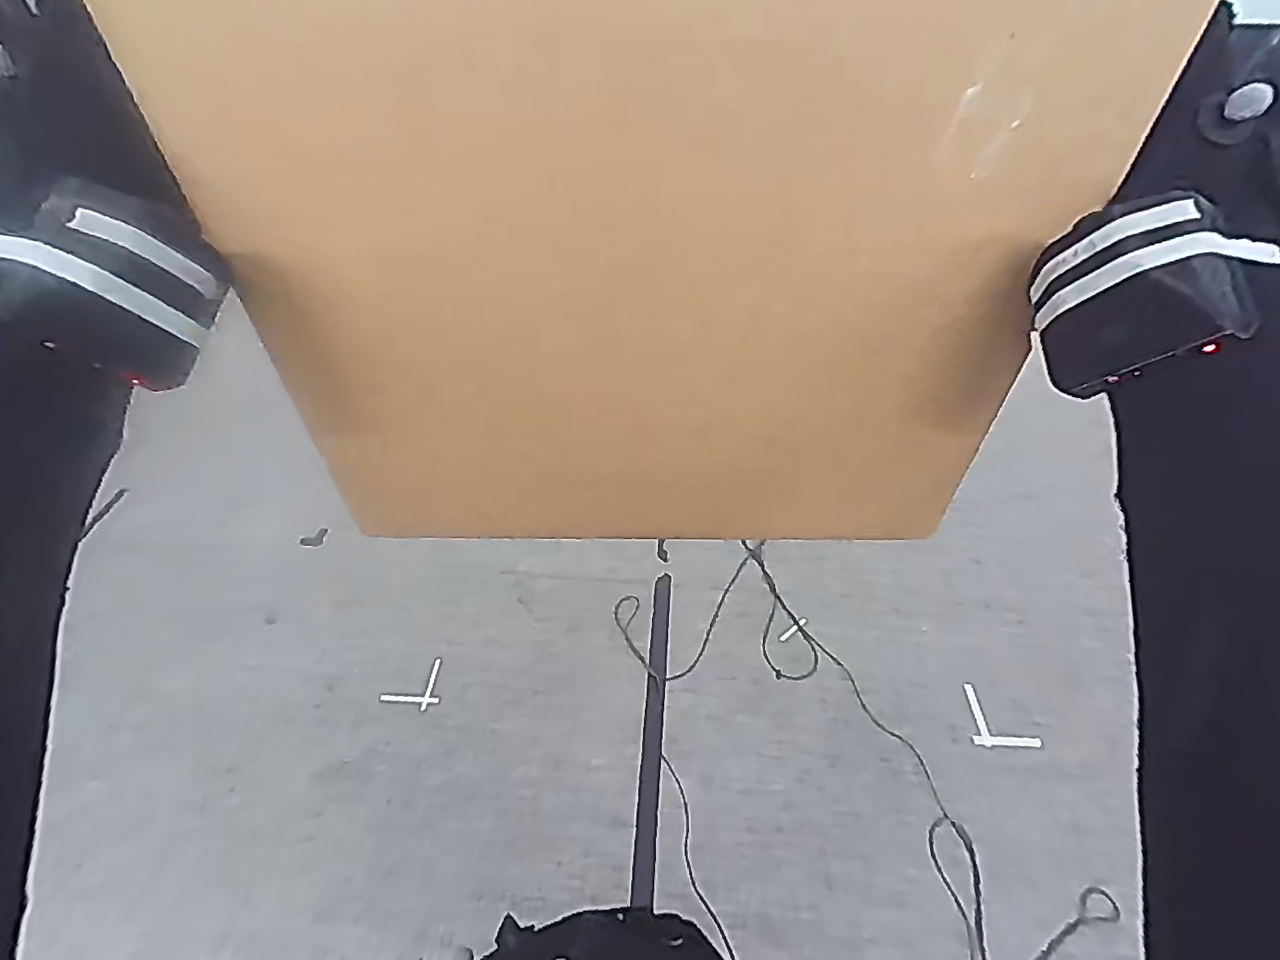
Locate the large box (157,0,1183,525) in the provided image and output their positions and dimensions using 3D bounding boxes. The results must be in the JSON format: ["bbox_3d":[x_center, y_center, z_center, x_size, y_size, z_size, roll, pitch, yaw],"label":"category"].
[{"bbox_3d":[0.007,-0.178,0.404,0.408,0.320,0.320,1,42,-1],"label":"large box"}]
